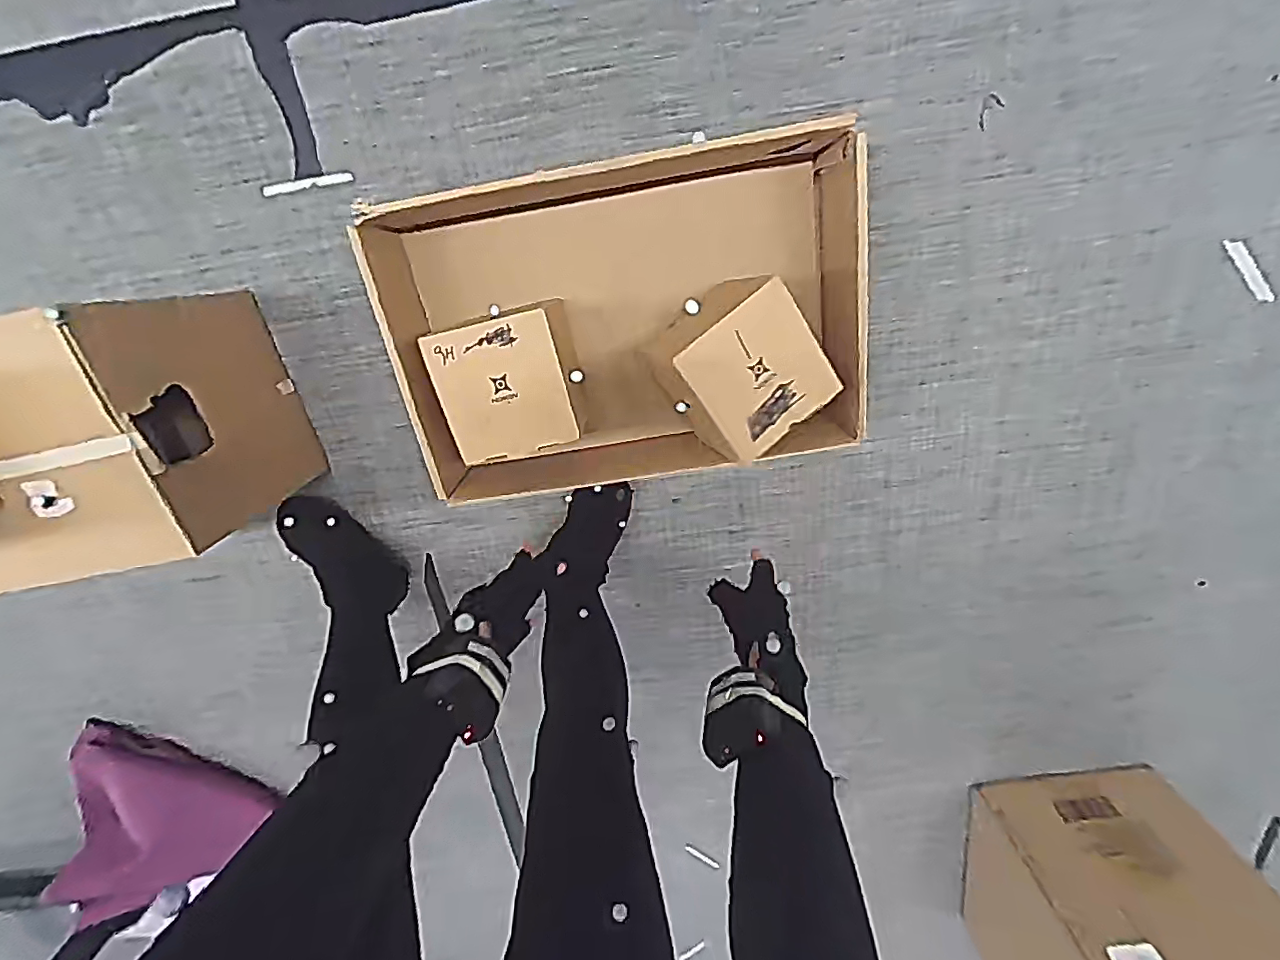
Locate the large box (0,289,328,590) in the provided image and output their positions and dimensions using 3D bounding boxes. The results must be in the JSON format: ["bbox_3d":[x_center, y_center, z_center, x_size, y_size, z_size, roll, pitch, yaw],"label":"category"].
[{"bbox_3d":[-0.772,-0.072,0.782,0.408,0.320,0.320,-12,112,4],"label":"large box"}]

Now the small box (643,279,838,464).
[{"bbox_3d":[0.130,-0.153,0.750,0.168,0.176,0.179,-39,111,-2],"label":"small box"}]
